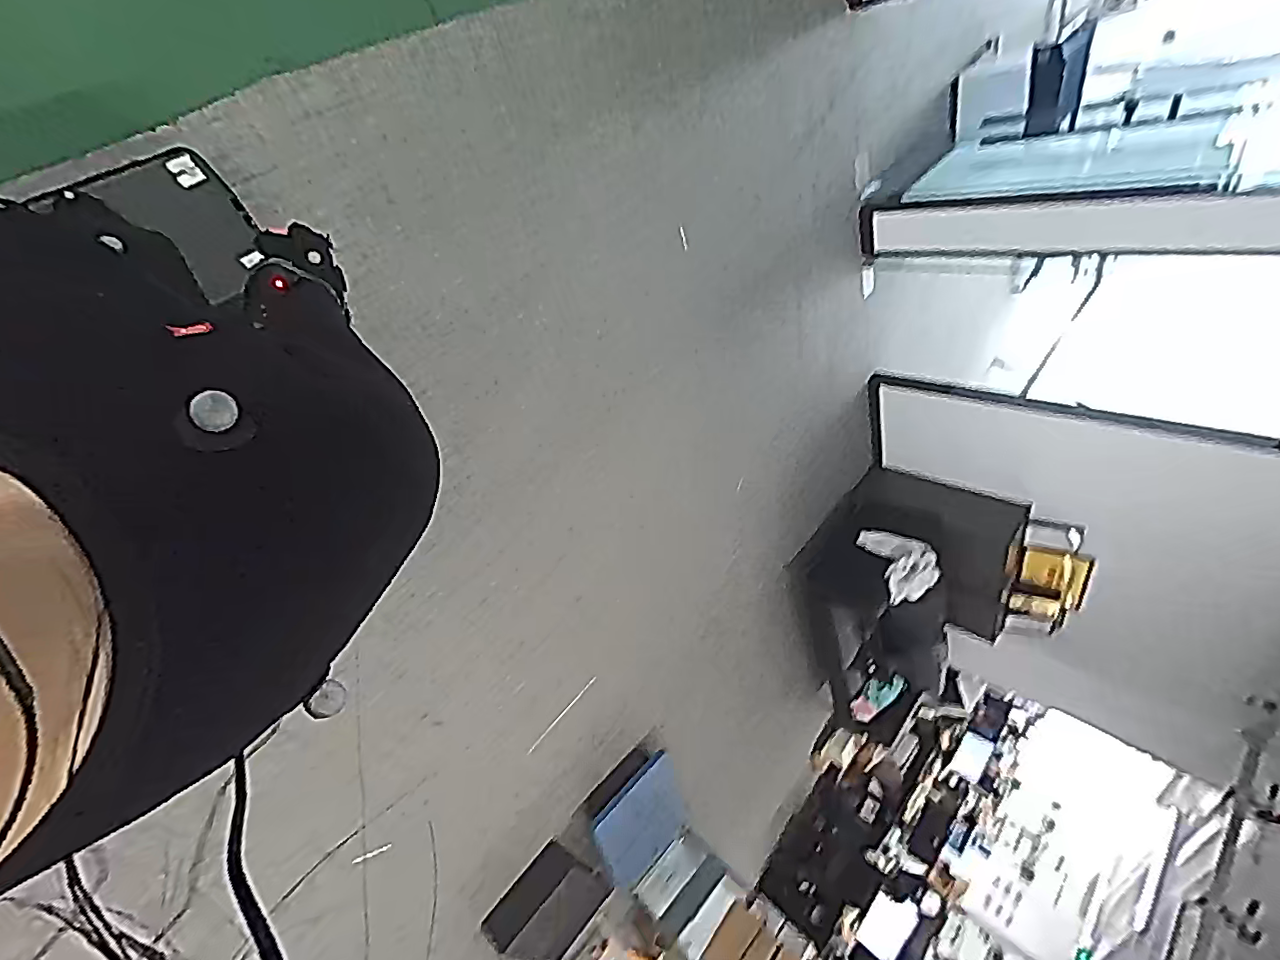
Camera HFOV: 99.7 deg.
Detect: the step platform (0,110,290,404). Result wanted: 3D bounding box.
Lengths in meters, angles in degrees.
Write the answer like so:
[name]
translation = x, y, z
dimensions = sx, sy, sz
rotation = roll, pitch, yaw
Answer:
[step platform]
translation = -1.004, -0.359, 0.923
dimensions = 0.684, 0.204, 0.286
rotation = -43, 133, -23
